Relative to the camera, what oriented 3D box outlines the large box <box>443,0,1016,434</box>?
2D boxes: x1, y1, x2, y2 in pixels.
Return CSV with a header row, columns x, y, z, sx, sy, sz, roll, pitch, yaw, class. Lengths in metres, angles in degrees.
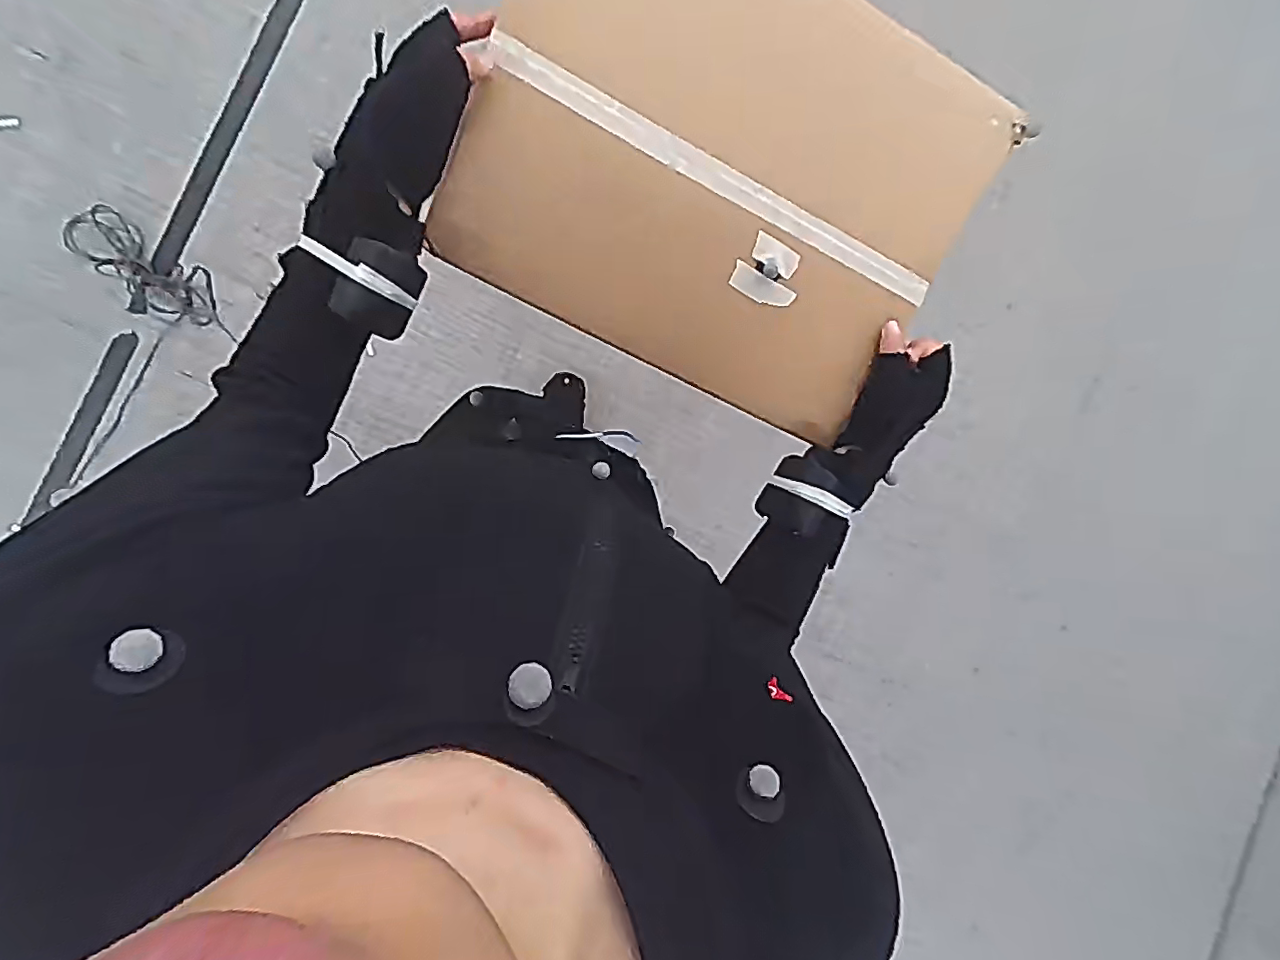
x,y,z,sx,sy,sz,roll,pitch,yaw,class
0.063,-0.297,0.591,0.408,0.320,0.320,25,105,-12,large box
